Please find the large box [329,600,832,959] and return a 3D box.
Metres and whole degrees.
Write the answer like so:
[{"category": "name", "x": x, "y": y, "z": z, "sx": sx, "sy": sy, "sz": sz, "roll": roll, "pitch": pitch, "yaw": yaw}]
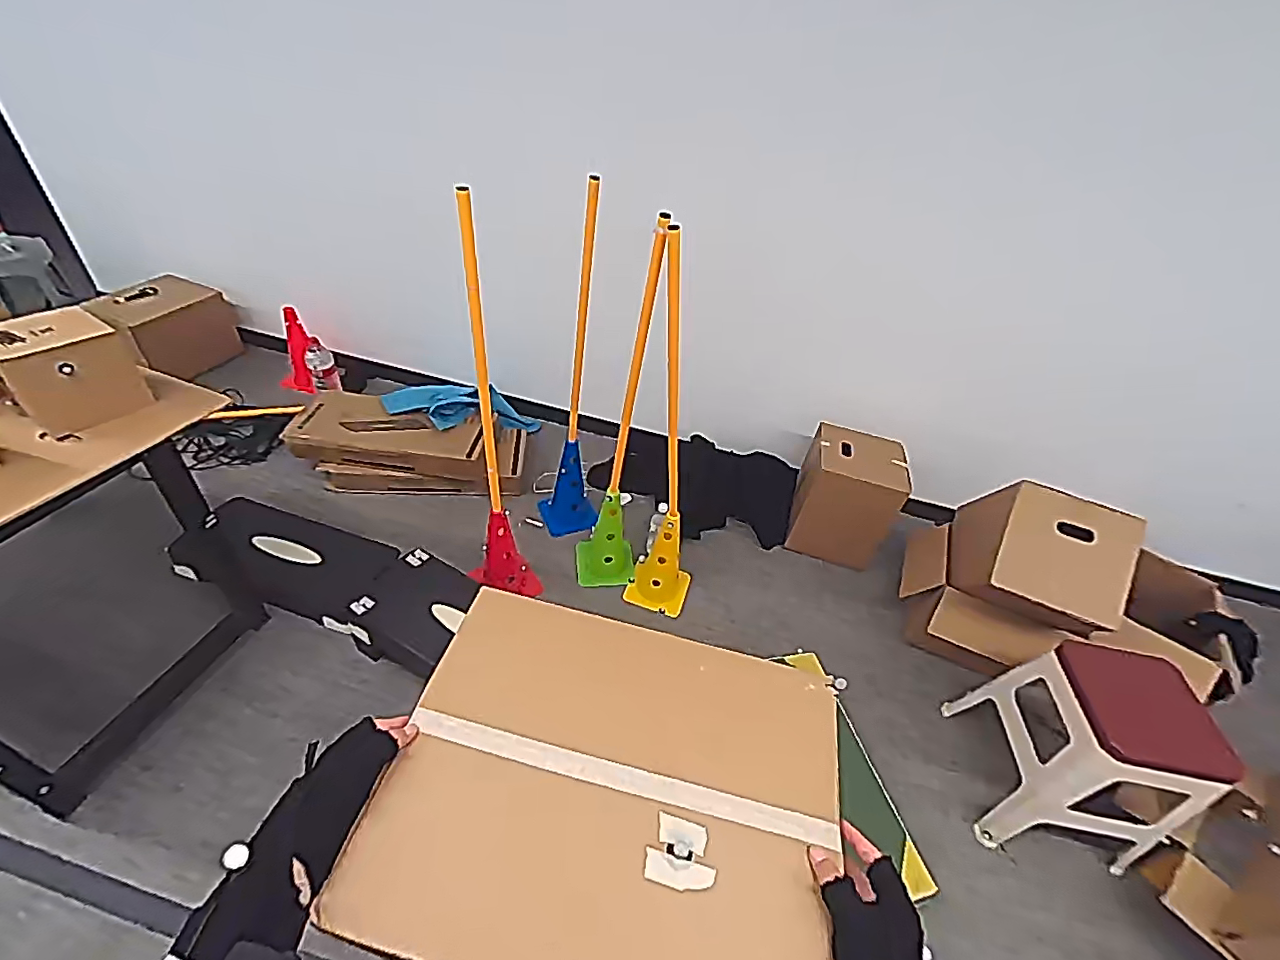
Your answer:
[{"category": "large box", "x": -0.037, "y": 0.389, "z": 0.611, "sx": 0.408, "sy": 0.320, "sz": 0.320, "roll": 13, "pitch": 45, "yaw": 5}]
